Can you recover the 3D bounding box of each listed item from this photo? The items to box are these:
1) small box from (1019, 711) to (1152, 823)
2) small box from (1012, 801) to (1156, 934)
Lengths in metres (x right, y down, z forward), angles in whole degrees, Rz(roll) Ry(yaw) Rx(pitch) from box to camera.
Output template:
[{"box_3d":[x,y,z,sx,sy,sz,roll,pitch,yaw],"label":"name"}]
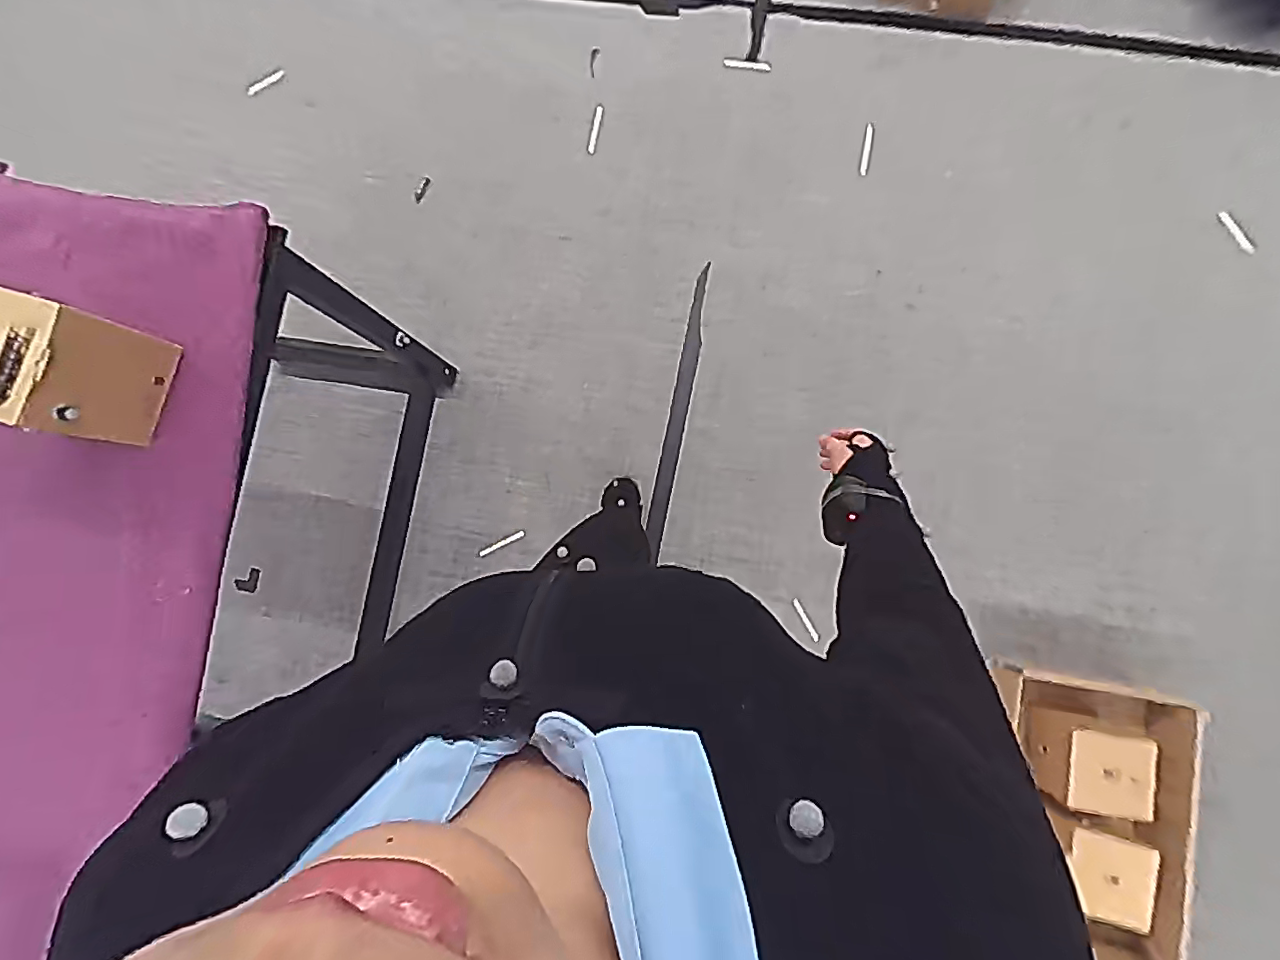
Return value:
[{"box_3d":[1.022,0.654,1.255,0.179,0.176,0.168,8,86,5],"label":"small box"},{"box_3d":[1.004,0.870,1.236,0.179,0.176,0.168,15,85,5],"label":"small box"}]
